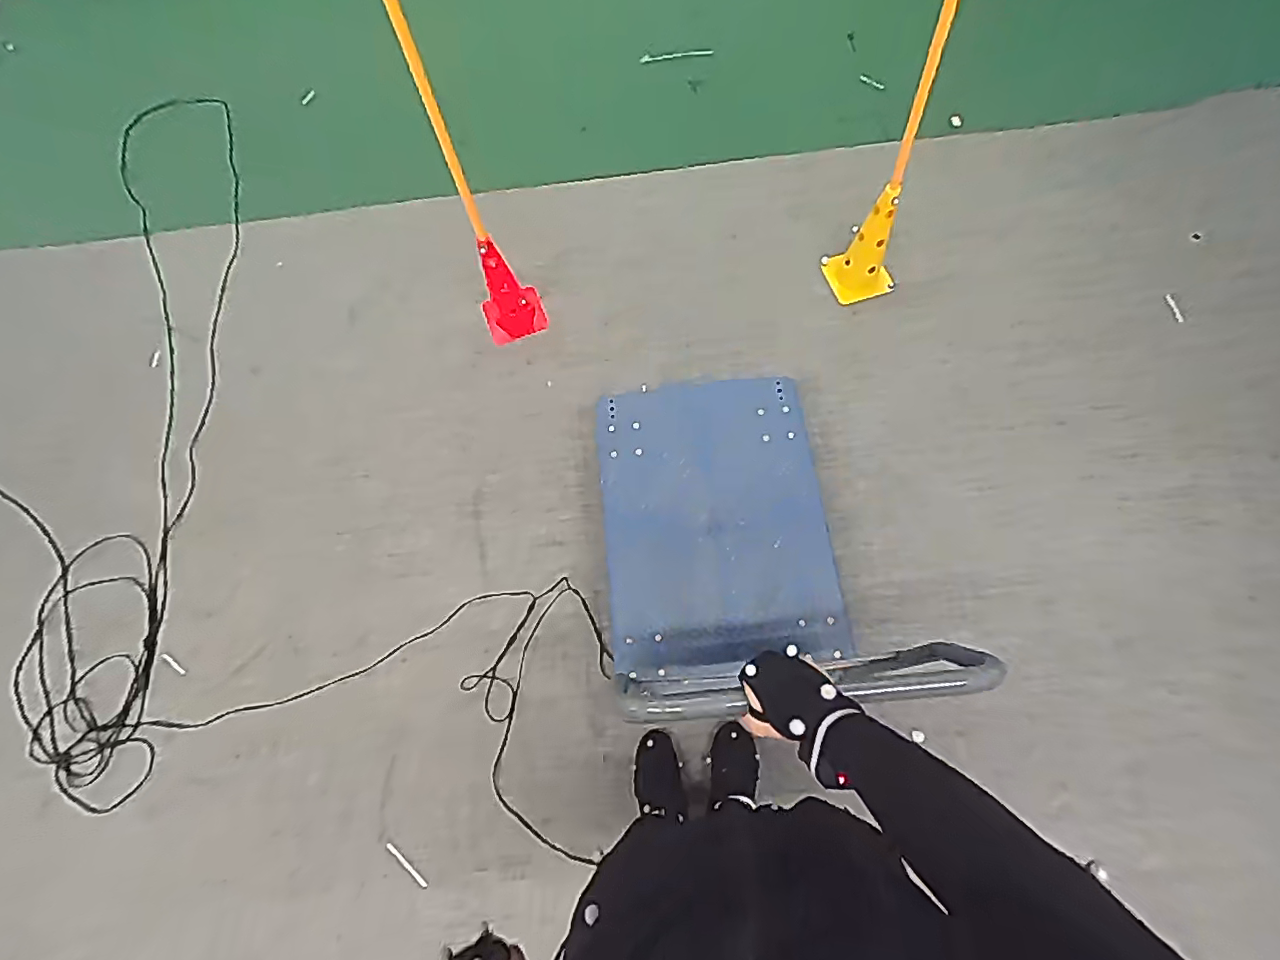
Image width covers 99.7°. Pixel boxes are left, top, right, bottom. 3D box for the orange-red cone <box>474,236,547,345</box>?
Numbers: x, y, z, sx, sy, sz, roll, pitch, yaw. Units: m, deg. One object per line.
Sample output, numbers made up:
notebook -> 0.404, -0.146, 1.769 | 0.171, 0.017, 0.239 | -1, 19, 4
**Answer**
orange-red cone -> -0.449, -0.629, 1.724 | 0.199, 0.360, 0.198 | -20, 69, -2
